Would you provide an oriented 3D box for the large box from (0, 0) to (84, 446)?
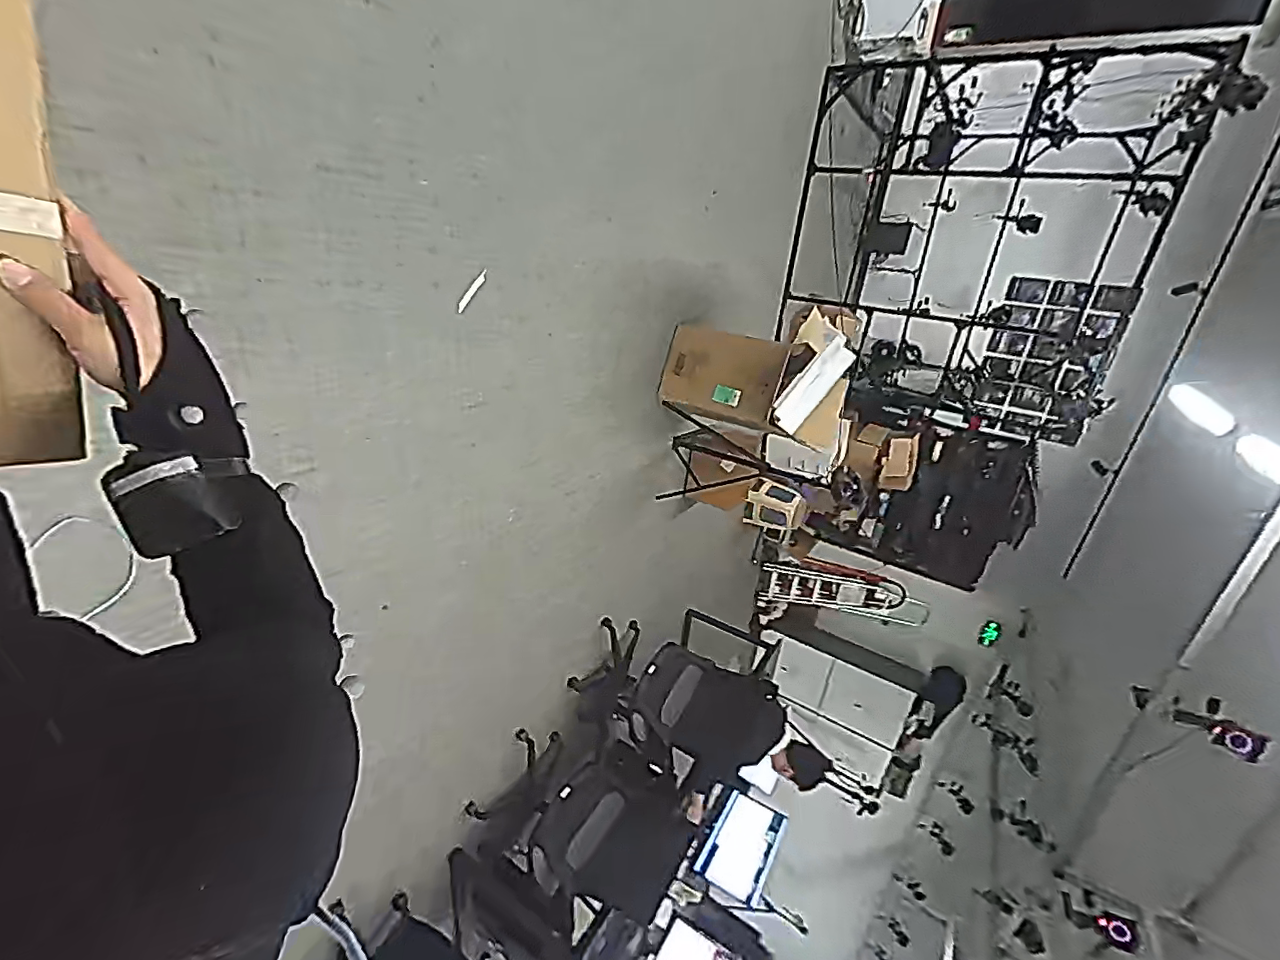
[{"bbox_3d":[-0.596,-0.185,0.248,0.408,0.320,0.320,-14,120,-56],"label":"large box"}]
